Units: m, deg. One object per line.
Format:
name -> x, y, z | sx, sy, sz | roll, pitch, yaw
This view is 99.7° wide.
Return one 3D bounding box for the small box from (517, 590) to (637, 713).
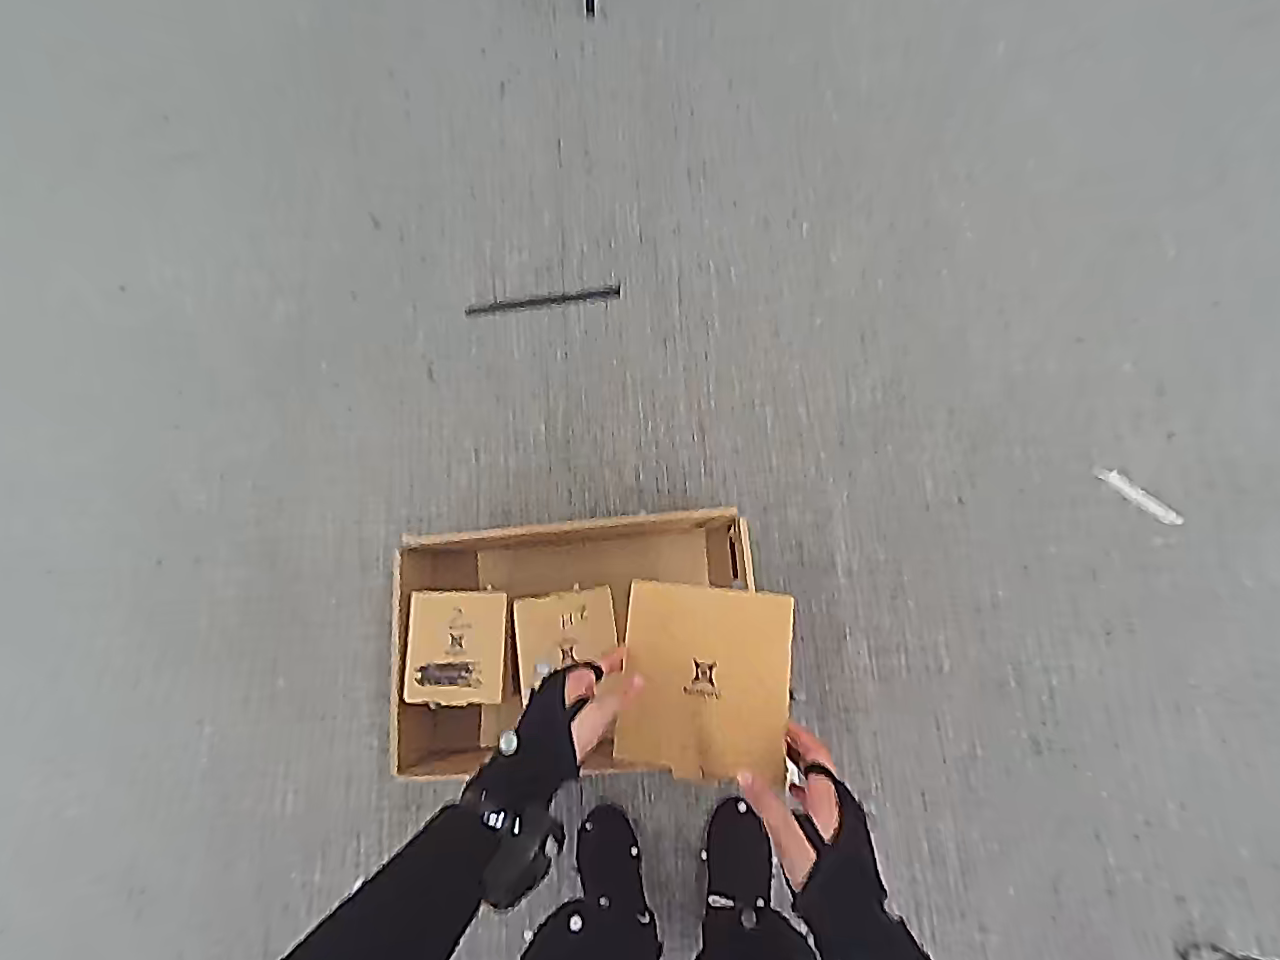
small box -> -0.103, 0.289, 0.941 | 0.168, 0.176, 0.179 | -9, 77, 4
